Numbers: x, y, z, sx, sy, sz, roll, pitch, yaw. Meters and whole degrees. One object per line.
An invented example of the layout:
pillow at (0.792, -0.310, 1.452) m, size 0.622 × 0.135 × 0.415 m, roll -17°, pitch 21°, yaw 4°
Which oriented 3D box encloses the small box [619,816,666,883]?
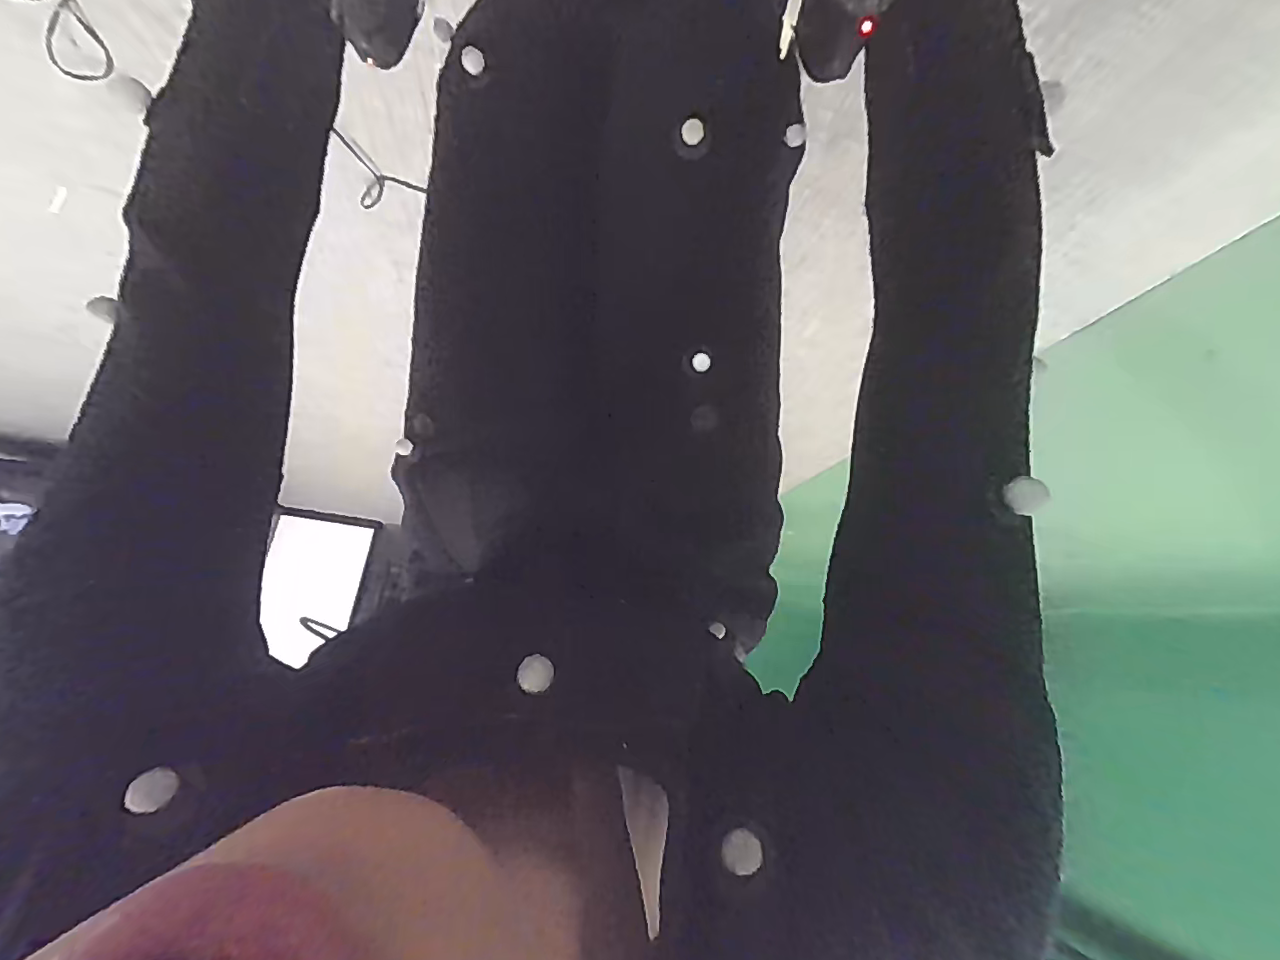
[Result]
small box at (0.009, 1.474, 2.170) m, size 0.168 × 0.176 × 0.179 m, roll 10°, pitch 164°, yaw 1°
